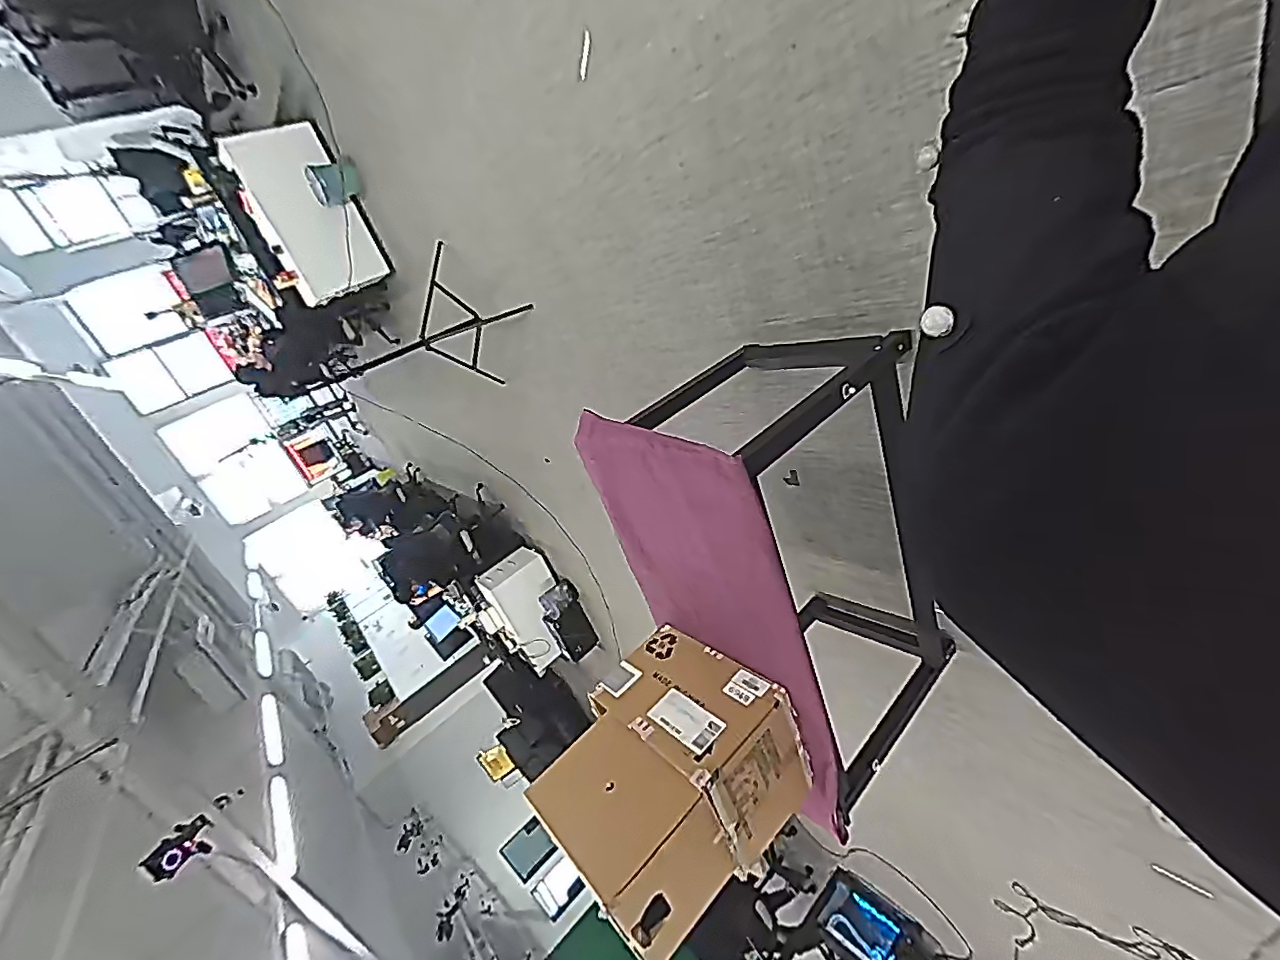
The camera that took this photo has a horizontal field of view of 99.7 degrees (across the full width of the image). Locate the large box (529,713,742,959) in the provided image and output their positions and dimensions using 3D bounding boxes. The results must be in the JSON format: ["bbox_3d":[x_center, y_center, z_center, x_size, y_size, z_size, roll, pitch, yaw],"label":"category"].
[{"bbox_3d":[-0.017,0.885,1.387,0.408,0.320,0.320,11,132,52],"label":"large box"}]
